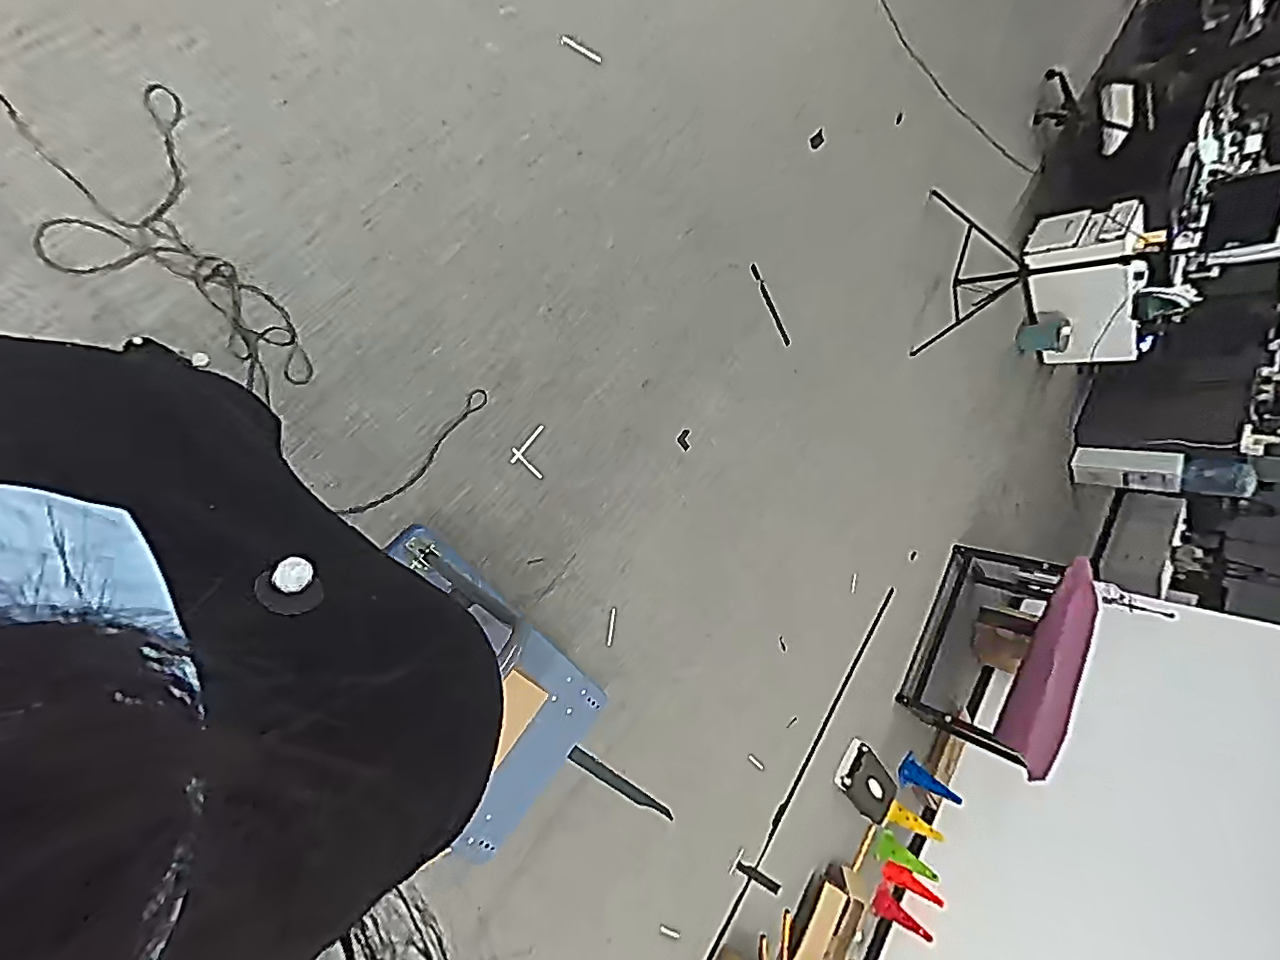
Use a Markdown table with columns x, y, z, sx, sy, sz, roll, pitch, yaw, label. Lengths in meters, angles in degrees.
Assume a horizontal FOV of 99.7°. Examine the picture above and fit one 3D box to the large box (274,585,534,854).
| x | y | z | sx | sy | sz | roll | pitch | yaw | label |
| --- | --- | --- | --- | --- | --- | --- | --- | --- | --- |
| -0.527 | 0.516 | 1.223 | 0.408 | 0.320 | 0.320 | -52 | 124 | -19 | large box |
